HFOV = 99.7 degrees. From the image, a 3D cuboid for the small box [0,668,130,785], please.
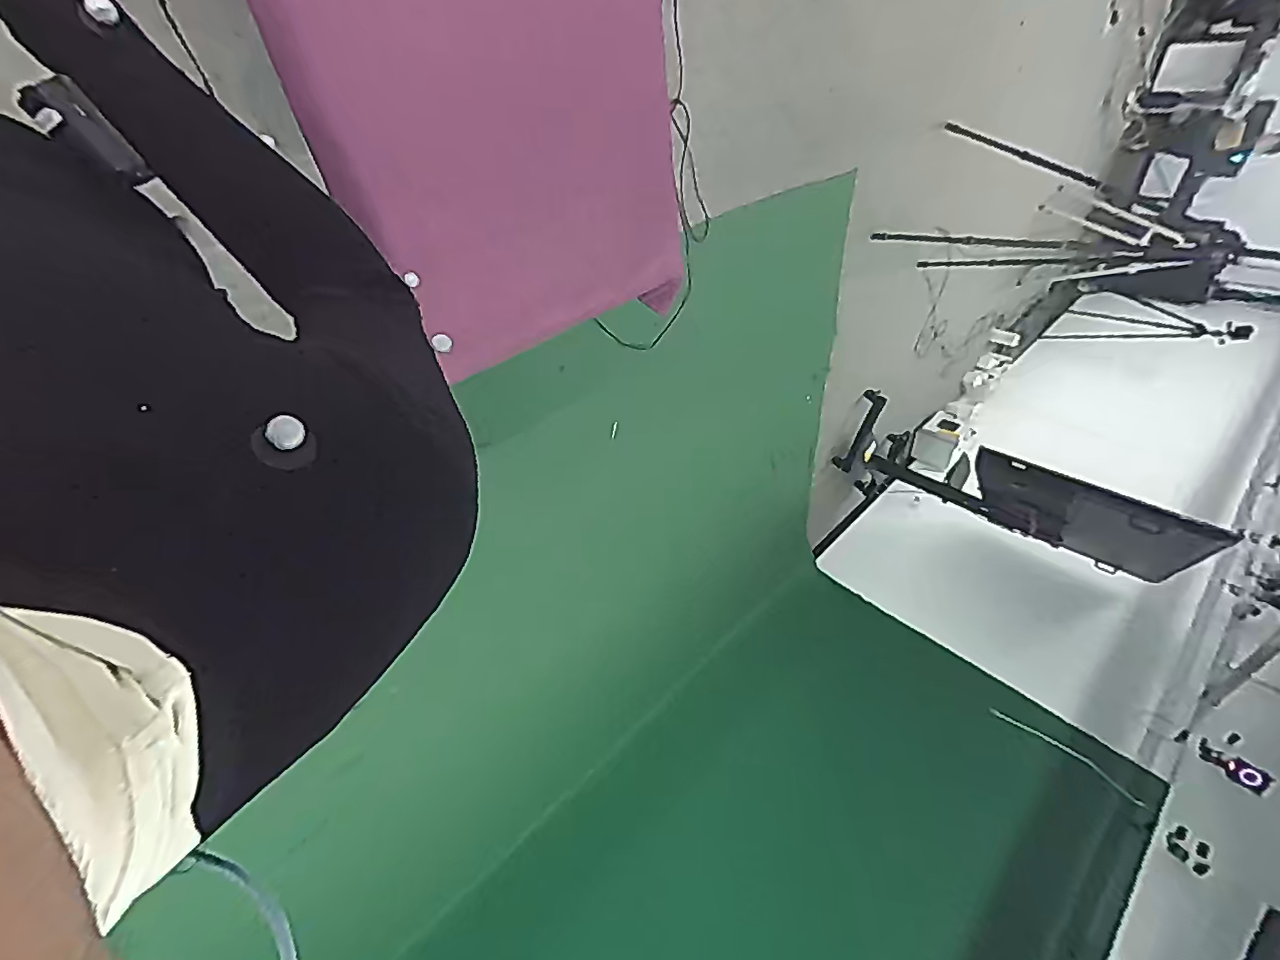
[{"bbox_3d":[-1.442,0.613,1.362,0.168,0.176,0.179,-33,136,-29],"label":"small box"}]
